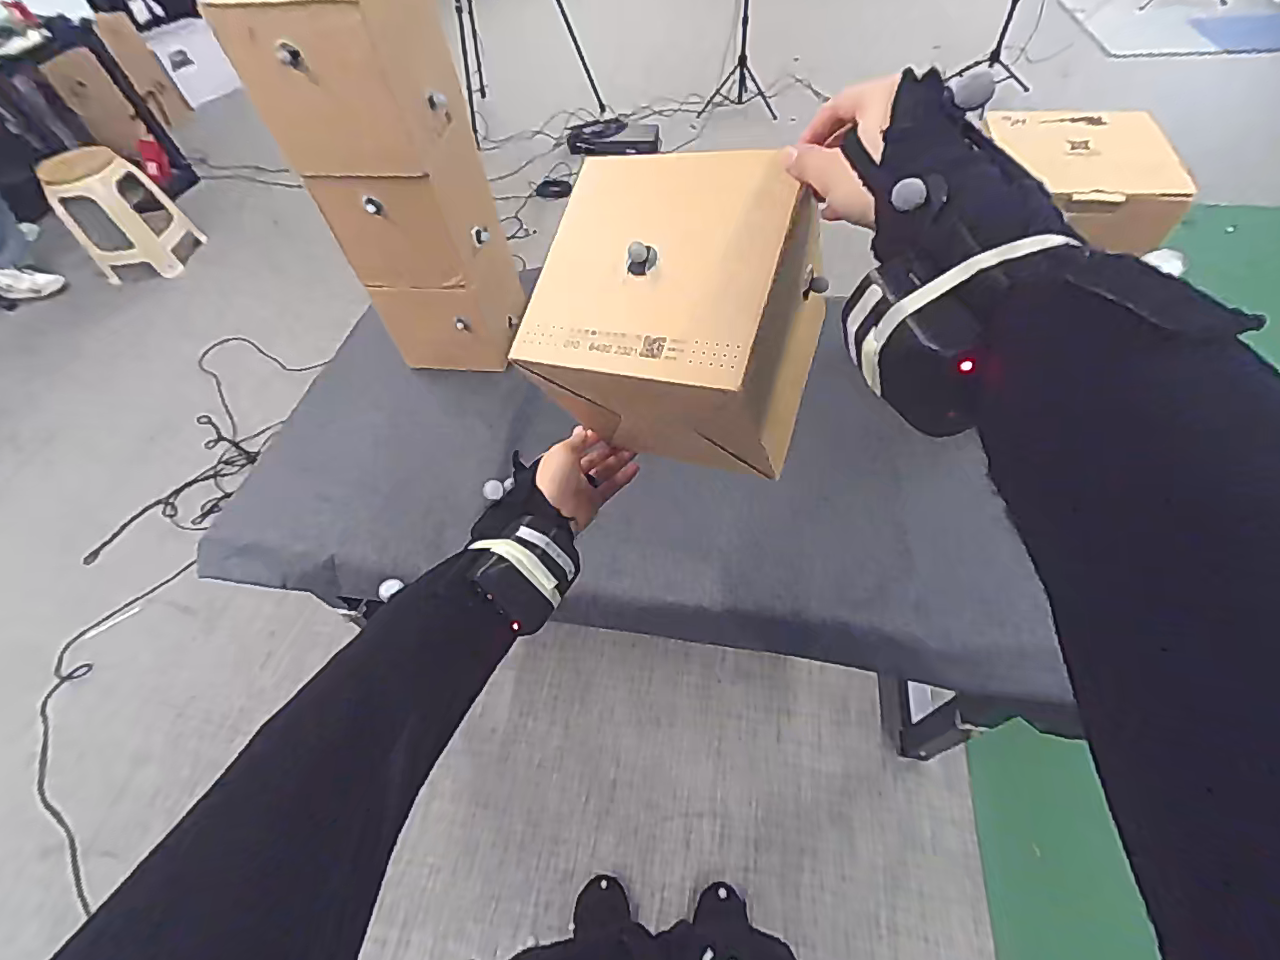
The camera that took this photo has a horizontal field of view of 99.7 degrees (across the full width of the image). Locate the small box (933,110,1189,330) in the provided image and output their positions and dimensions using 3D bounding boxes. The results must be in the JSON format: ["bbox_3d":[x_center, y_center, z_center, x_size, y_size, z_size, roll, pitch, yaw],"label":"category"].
[{"bbox_3d":[0.459,-0.296,0.628,0.168,0.176,0.179,8,58,11],"label":"small box"}]

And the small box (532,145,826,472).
[{"bbox_3d":[0.037,-0.118,0.421,0.168,0.179,0.176,14,79,25],"label":"small box"}]

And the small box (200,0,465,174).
[{"bbox_3d":[-0.332,-0.481,0.628,0.179,0.176,0.168,5,58,7],"label":"small box"}]

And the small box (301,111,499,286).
[{"bbox_3d":[-0.323,-0.397,0.770,0.179,0.176,0.168,4,58,6],"label":"small box"}]
